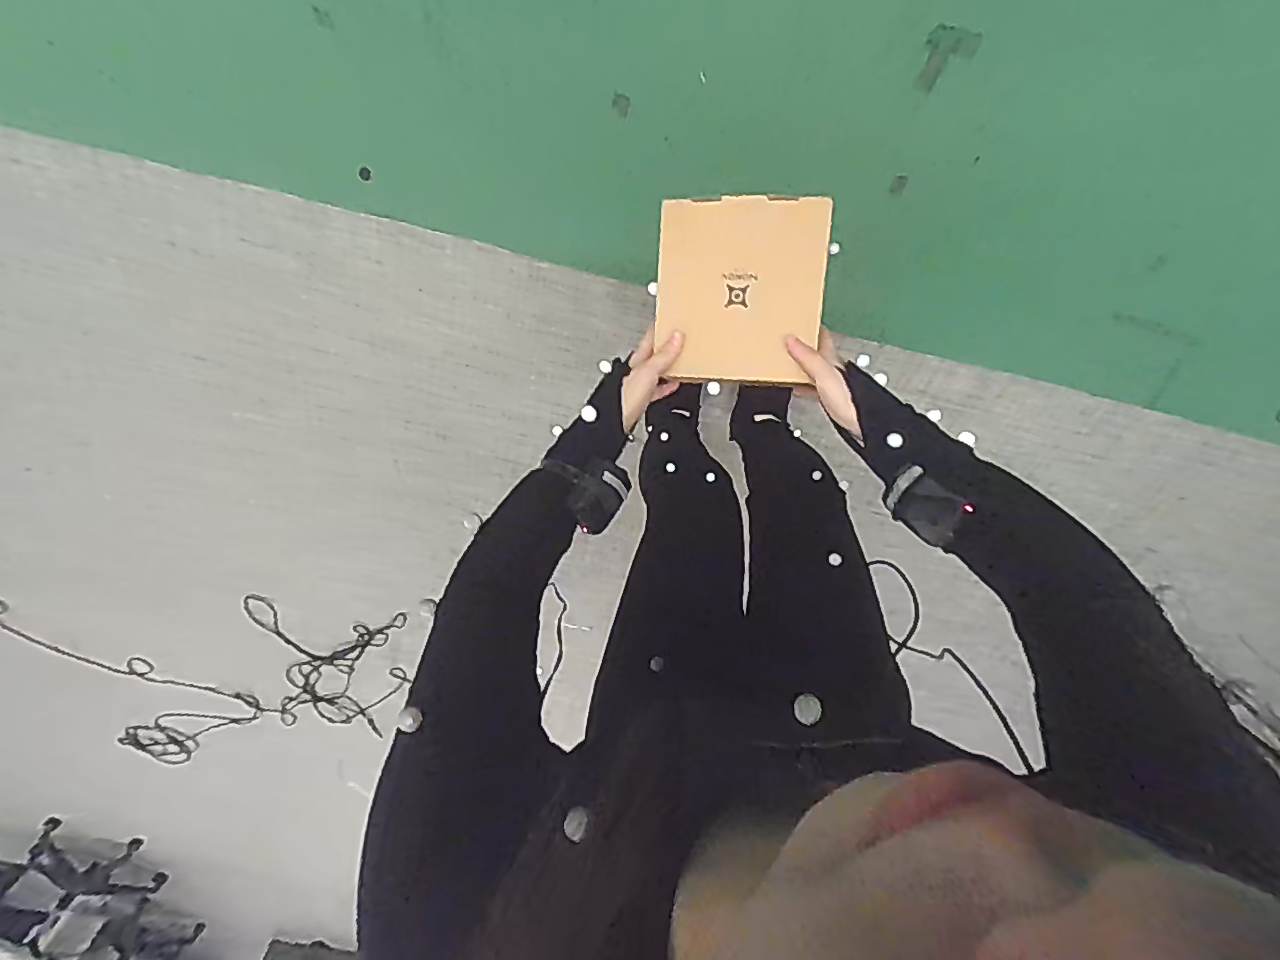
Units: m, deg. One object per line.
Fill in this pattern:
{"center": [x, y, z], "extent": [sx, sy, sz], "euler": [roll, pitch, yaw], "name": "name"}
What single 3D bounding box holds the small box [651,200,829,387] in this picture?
{"center": [0.112, -0.199, 0.618], "extent": [0.168, 0.176, 0.179], "euler": [5, 99, 11], "name": "small box"}
